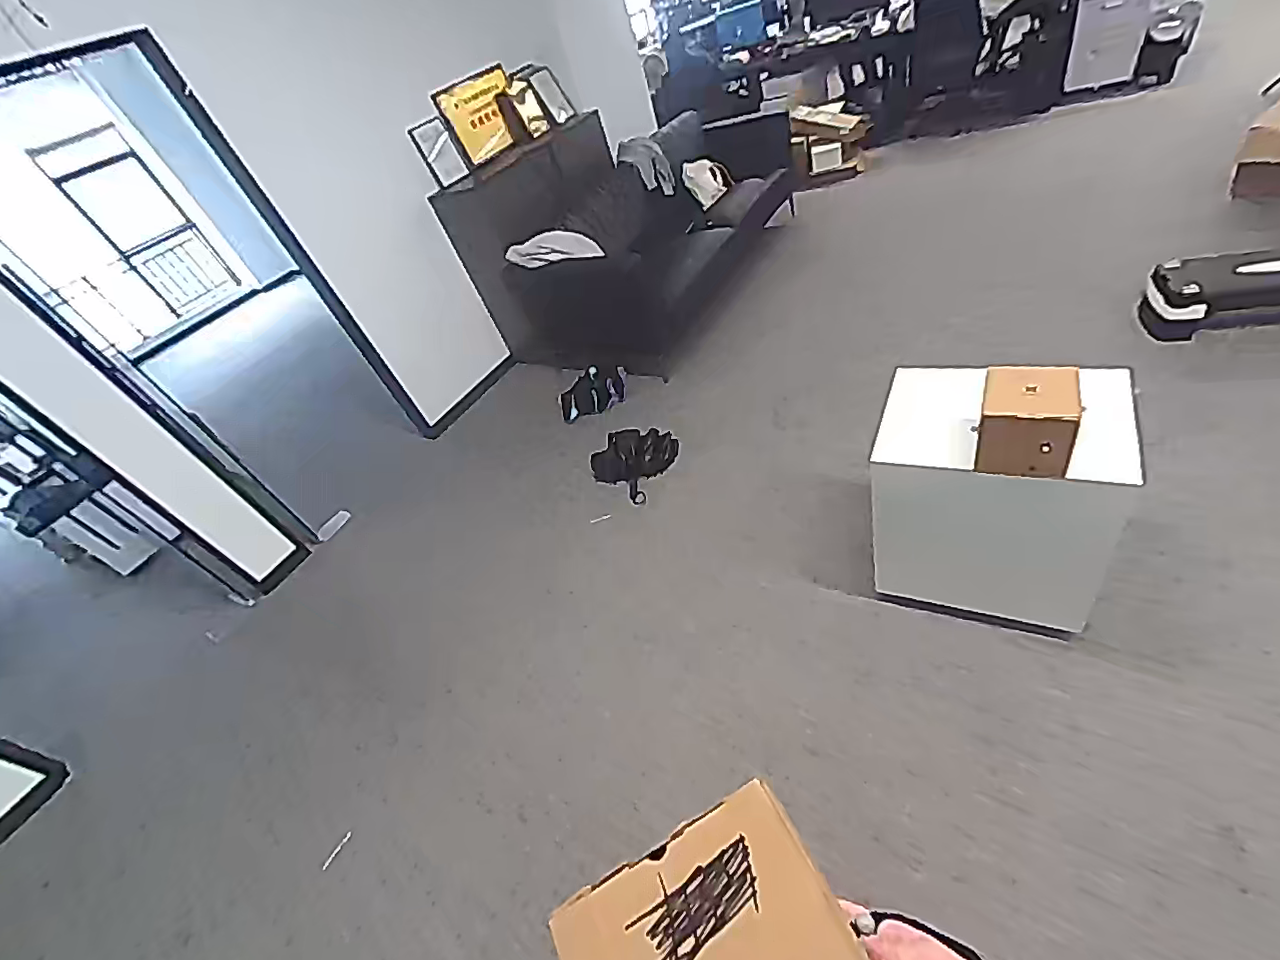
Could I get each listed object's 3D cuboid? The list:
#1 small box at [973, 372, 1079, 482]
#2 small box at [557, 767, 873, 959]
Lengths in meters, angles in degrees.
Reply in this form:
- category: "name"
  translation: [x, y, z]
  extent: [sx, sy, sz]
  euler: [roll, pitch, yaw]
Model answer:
- category: "small box"
  translation: [0.829, -0.116, 1.170]
  extent: [0.168, 0.176, 0.179]
  euler: [8, 46, 30]
- category: "small box"
  translation: [0.070, 0.338, 0.374]
  extent: [0.168, 0.176, 0.179]
  euler: [-30, 51, -3]
